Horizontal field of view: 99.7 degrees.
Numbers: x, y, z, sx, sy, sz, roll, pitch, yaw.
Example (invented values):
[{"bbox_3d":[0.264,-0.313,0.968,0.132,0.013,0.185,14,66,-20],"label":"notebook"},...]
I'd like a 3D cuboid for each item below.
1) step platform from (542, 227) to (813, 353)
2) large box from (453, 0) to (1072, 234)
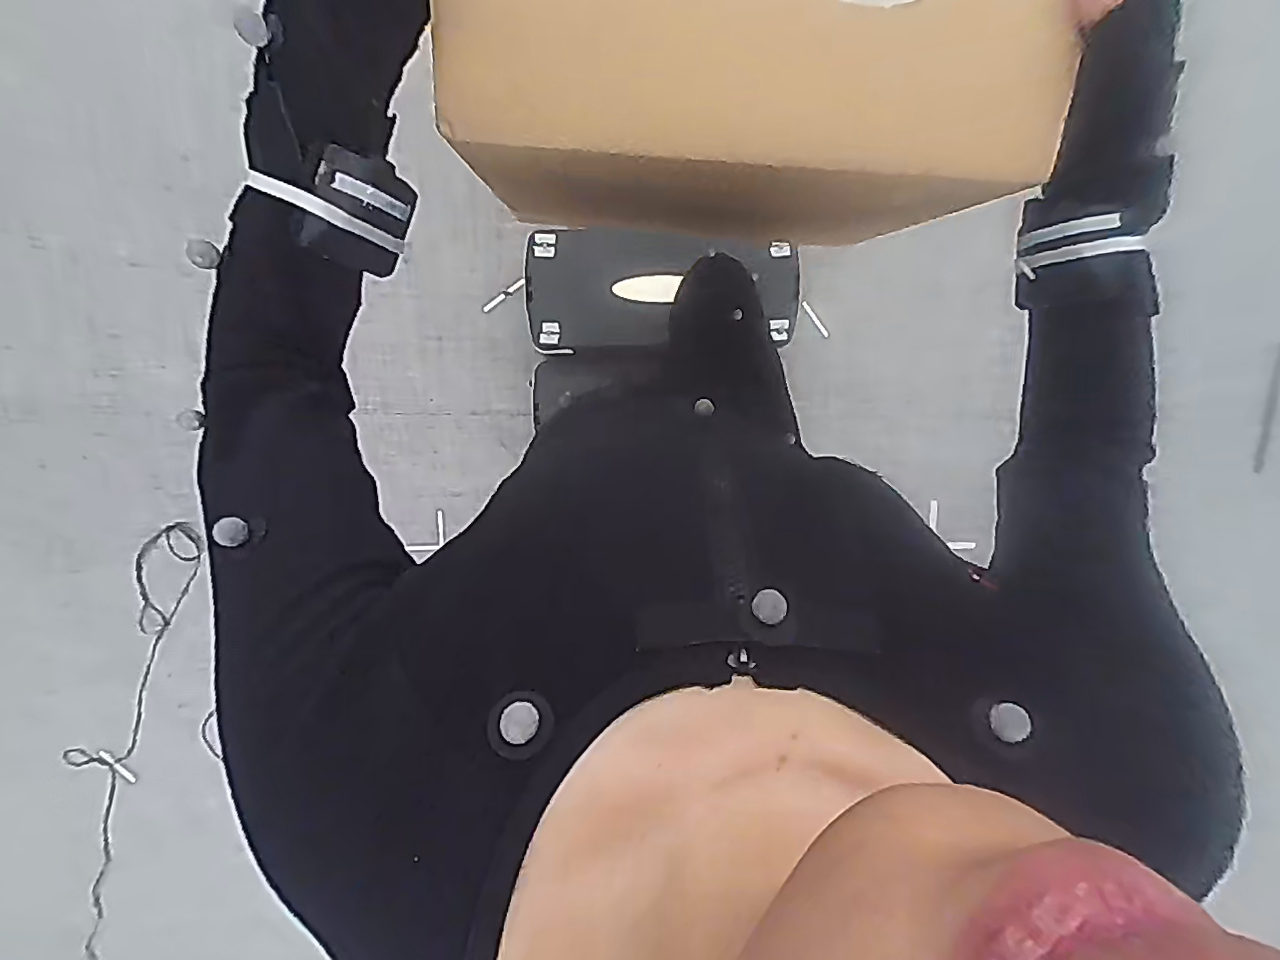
[{"bbox_3d":[0.092,-0.486,1.397,0.684,0.204,0.286,-2,100,-3],"label":"step platform"},{"bbox_3d":[0.073,-0.408,0.465,0.408,0.320,0.320,1,107,-4],"label":"large box"}]
